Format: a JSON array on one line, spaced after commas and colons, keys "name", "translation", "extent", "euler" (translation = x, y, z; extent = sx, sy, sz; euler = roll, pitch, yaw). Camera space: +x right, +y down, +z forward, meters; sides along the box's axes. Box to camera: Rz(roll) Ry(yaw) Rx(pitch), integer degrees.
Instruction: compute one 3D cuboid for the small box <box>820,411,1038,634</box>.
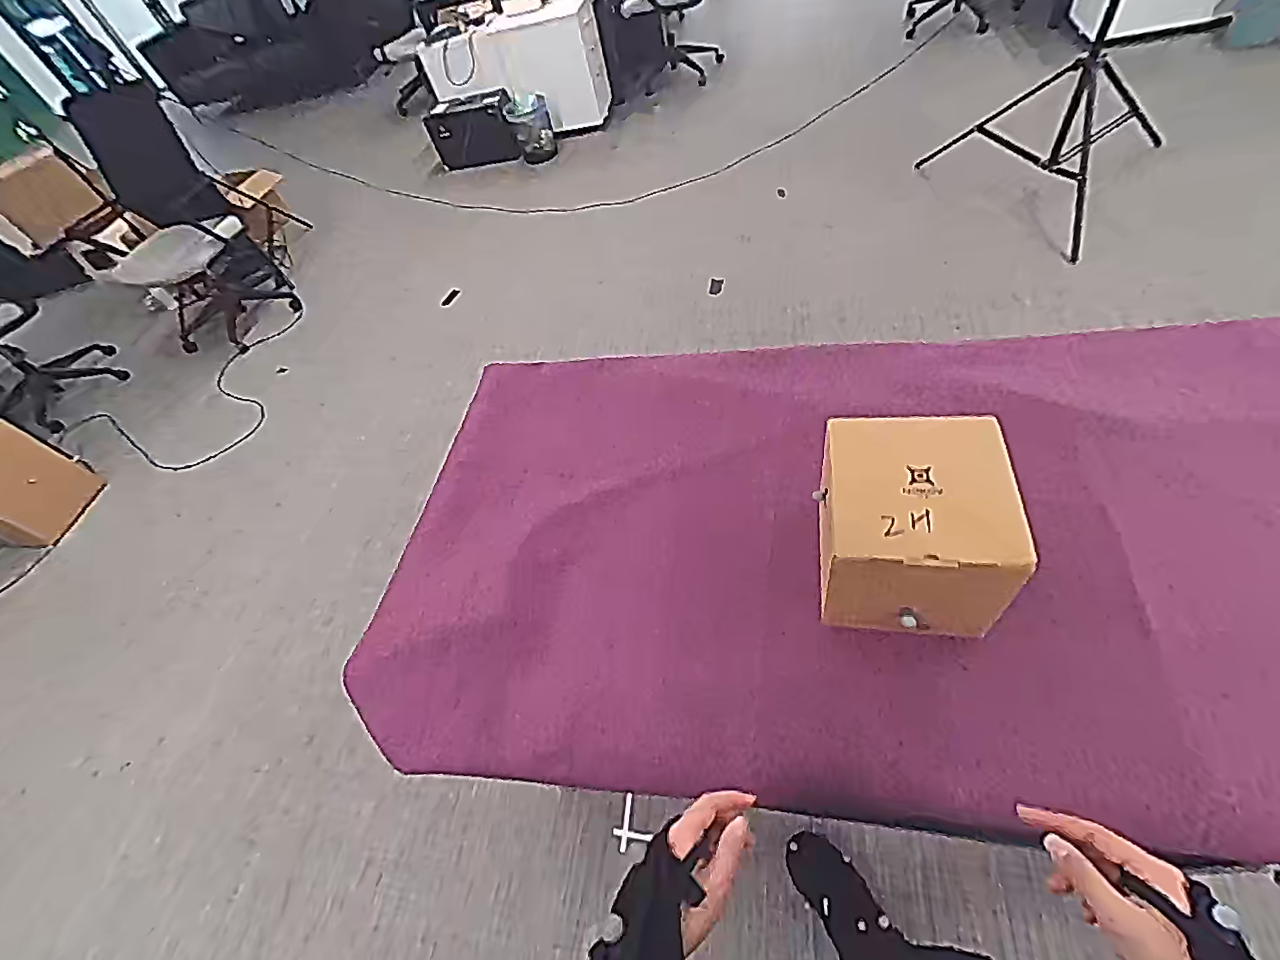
[{"name": "small box", "translation": [0.285, 0.045, 0.581], "extent": [0.168, 0.176, 0.179], "euler": [1, 54, 16]}]
